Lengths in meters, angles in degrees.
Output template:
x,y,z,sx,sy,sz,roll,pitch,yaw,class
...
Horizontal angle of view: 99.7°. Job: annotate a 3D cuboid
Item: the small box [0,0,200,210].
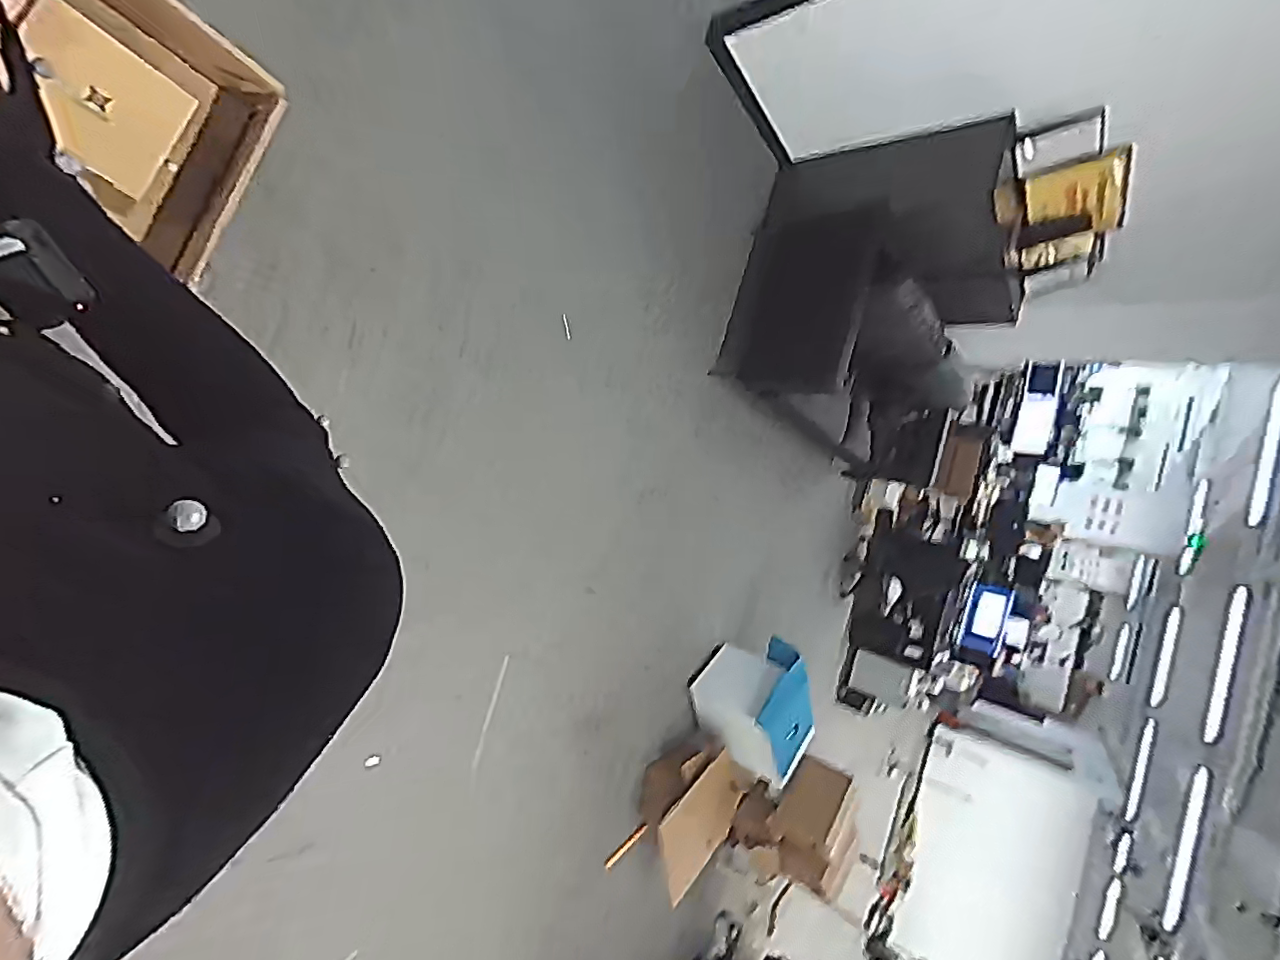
x,y,z,sx,sy,sz,roll,pitch,yaw,class
-0.773,-0.514,0.761,0.168,0.176,0.179,32,77,-49,small box
